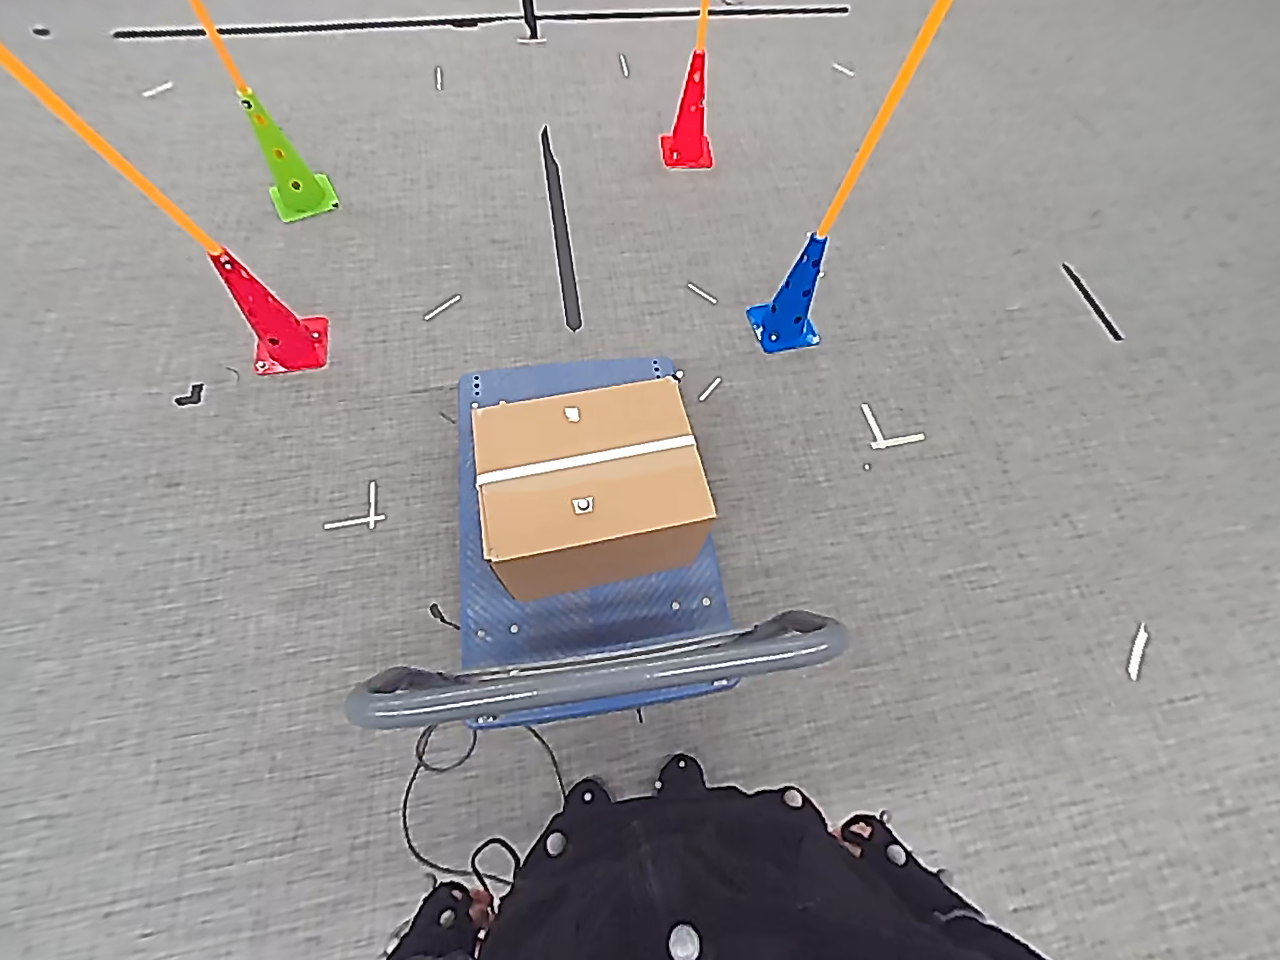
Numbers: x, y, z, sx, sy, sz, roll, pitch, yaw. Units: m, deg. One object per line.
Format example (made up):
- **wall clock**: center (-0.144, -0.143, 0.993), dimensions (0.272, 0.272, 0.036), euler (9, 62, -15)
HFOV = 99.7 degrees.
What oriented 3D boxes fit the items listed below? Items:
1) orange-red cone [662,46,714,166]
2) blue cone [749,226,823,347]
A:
- **orange-red cone**: center (0.201, -1.389, 1.995), dimensions (0.199, 0.360, 0.198), euler (-1, 65, -5)
- **blue cone**: center (0.481, -0.595, 1.647), dimensions (0.193, 0.380, 0.192), euler (-11, 64, -9)
